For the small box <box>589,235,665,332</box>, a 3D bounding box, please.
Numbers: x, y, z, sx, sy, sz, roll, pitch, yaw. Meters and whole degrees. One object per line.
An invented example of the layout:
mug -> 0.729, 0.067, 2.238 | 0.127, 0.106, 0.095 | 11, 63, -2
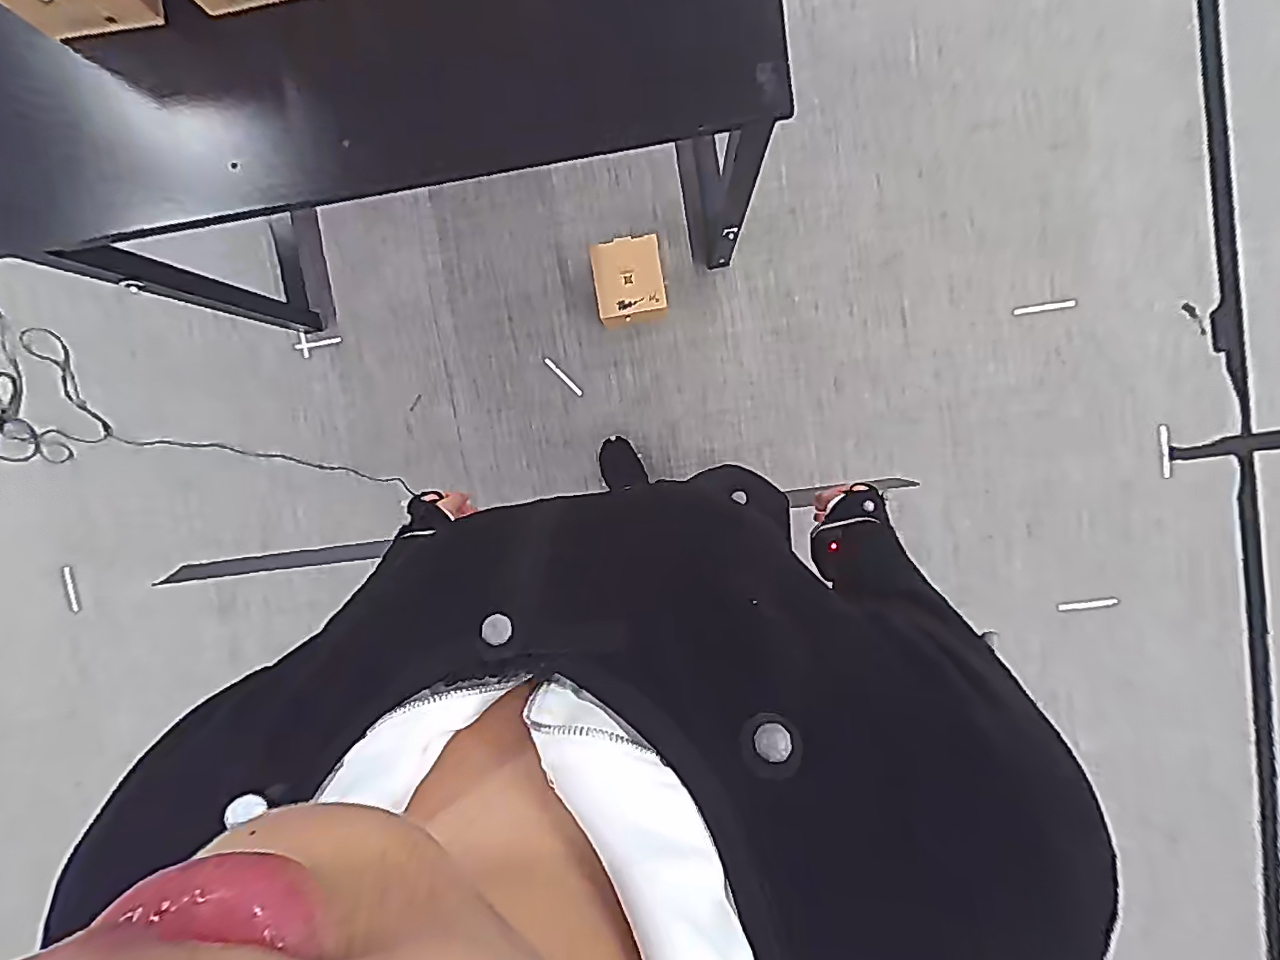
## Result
small box -> -0.028, -0.492, 1.374 | 0.168, 0.176, 0.179 | -9, 94, 5

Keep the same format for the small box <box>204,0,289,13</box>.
small box -> -0.527, -0.726, 0.650 | 0.168, 0.176, 0.179 | -9, 96, 4

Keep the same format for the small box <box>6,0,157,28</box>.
small box -> -0.750, -0.702, 0.665 | 0.168, 0.176, 0.179 | -5, 94, 3
